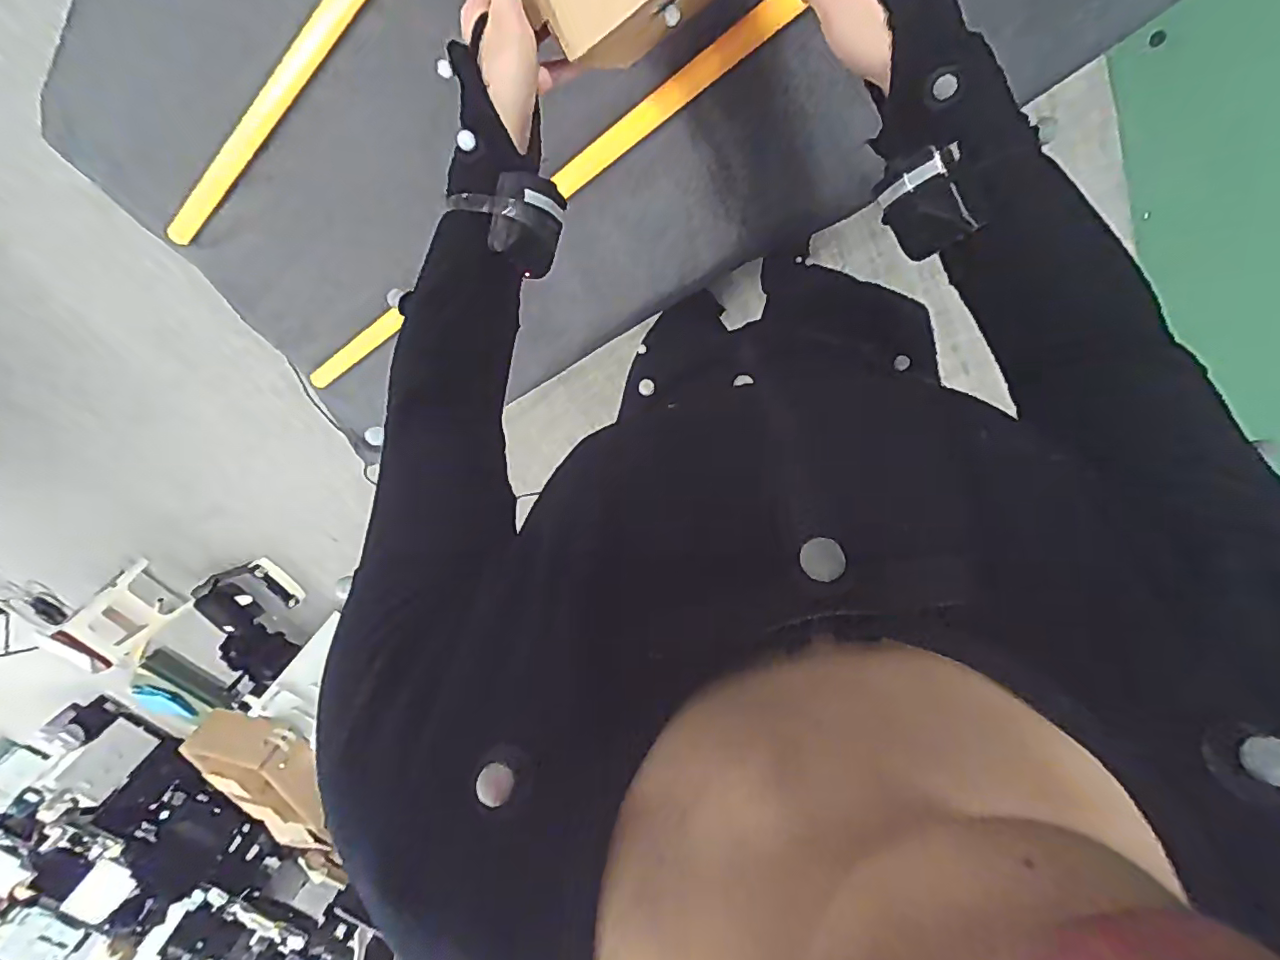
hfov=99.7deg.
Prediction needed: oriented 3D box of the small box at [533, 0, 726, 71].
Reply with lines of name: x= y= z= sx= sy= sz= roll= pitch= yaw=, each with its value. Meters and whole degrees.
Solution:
small box: x=0.001 y=-0.433 z=0.392 sx=0.179 sy=0.176 sz=0.168 roll=-19 pitch=119 yaw=27
